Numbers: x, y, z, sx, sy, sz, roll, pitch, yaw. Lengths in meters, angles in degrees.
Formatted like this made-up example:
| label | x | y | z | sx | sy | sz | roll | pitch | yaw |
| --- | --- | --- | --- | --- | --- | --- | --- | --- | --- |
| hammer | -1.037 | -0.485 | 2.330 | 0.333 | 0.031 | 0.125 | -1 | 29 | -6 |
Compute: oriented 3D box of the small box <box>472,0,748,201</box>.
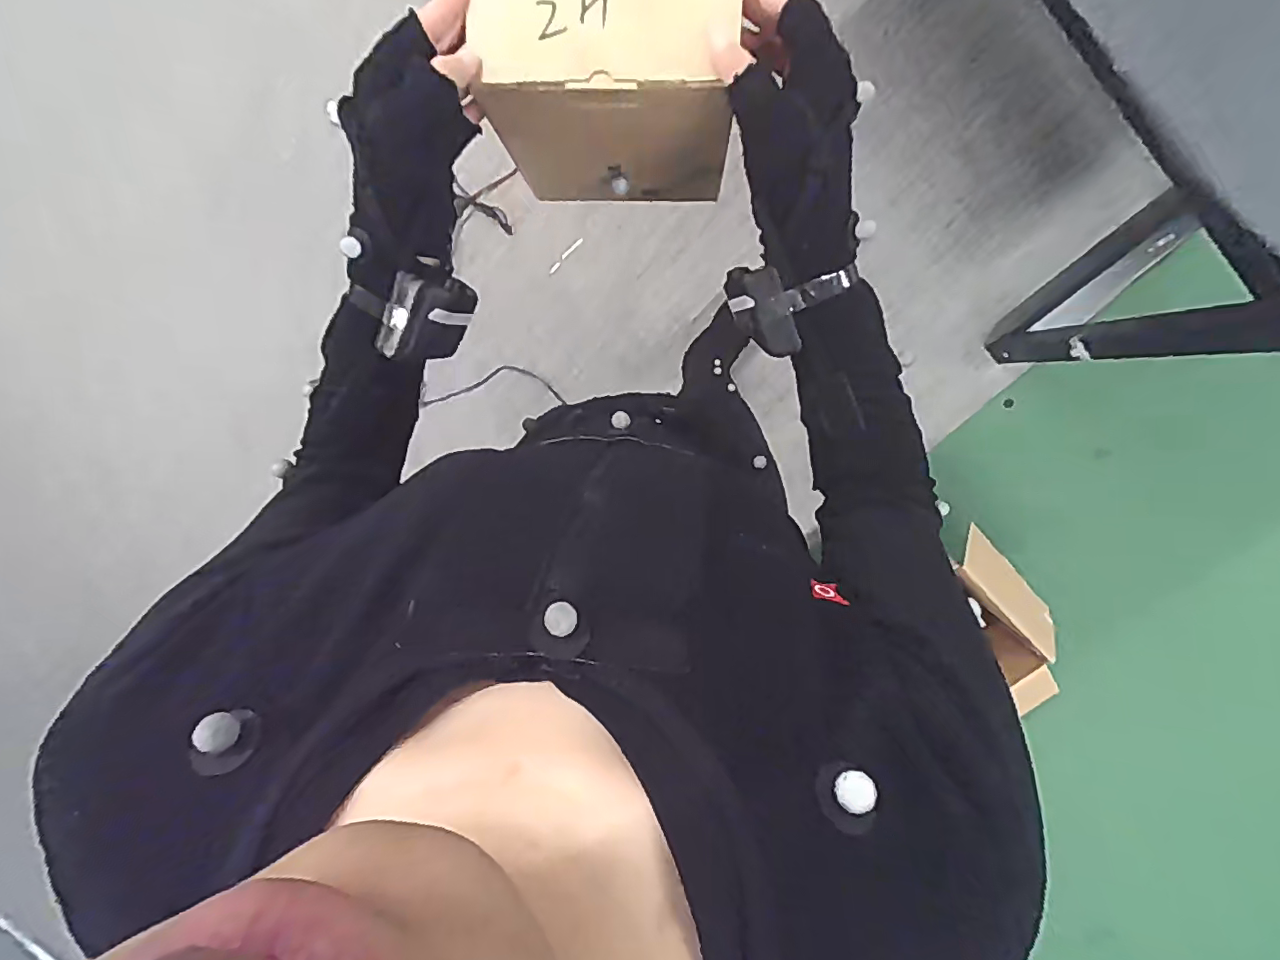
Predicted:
| label | x | y | z | sx | sy | sz | roll | pitch | yaw |
| --- | --- | --- | --- | --- | --- | --- | --- | --- | --- |
| small box | -0.012 | -0.333 | 0.396 | 0.168 | 0.176 | 0.179 | 3 | 96 | 4 |
